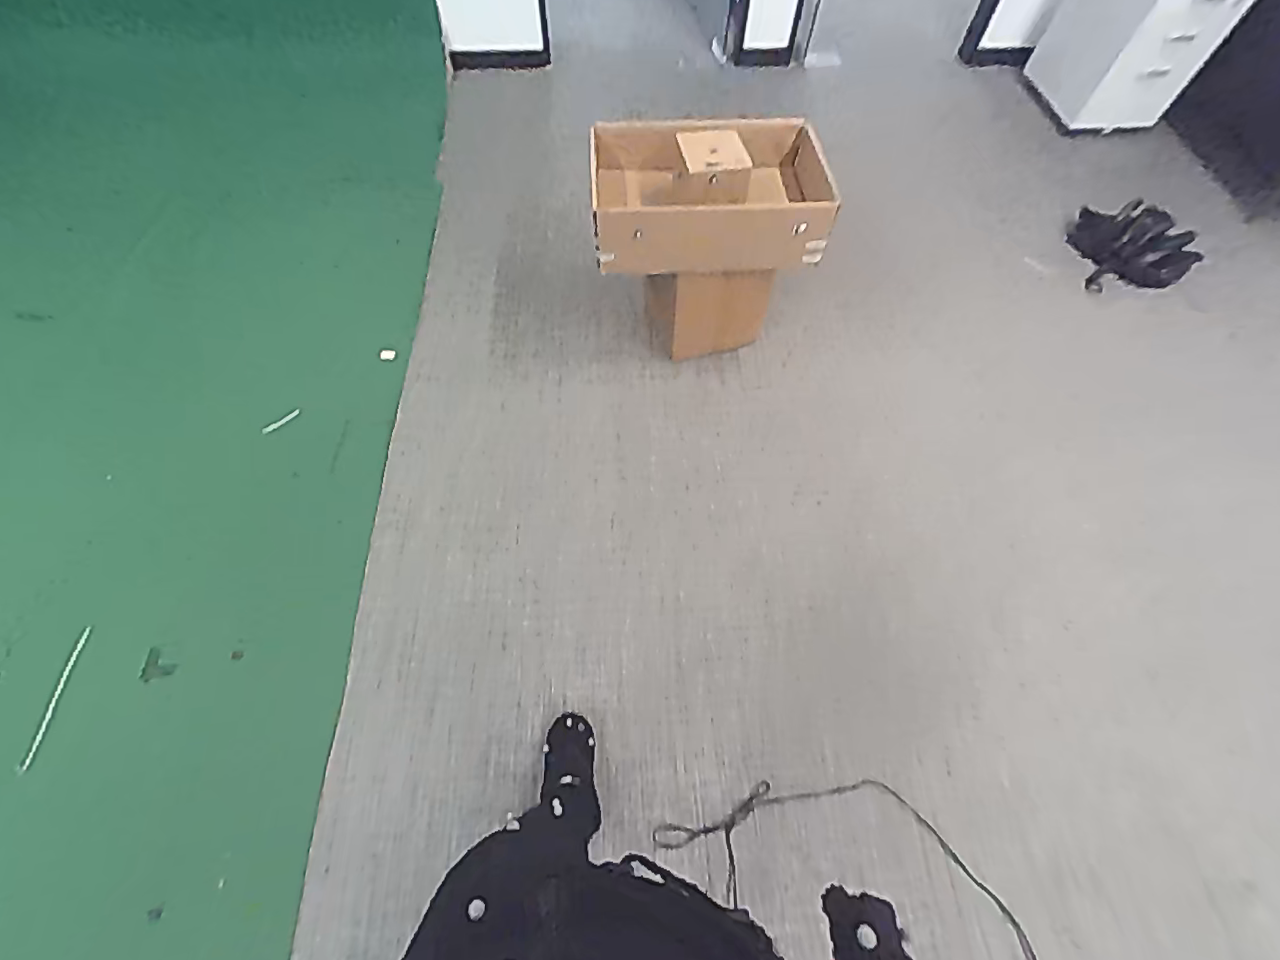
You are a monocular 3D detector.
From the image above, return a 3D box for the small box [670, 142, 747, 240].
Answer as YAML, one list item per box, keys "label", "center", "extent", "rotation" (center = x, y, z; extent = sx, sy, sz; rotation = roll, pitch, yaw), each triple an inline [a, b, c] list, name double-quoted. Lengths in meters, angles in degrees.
- label: "small box"
  center: [0.179, -0.786, 1.475]
  extent: [0.168, 0.176, 0.179]
  rotation: [-9, 60, -5]
